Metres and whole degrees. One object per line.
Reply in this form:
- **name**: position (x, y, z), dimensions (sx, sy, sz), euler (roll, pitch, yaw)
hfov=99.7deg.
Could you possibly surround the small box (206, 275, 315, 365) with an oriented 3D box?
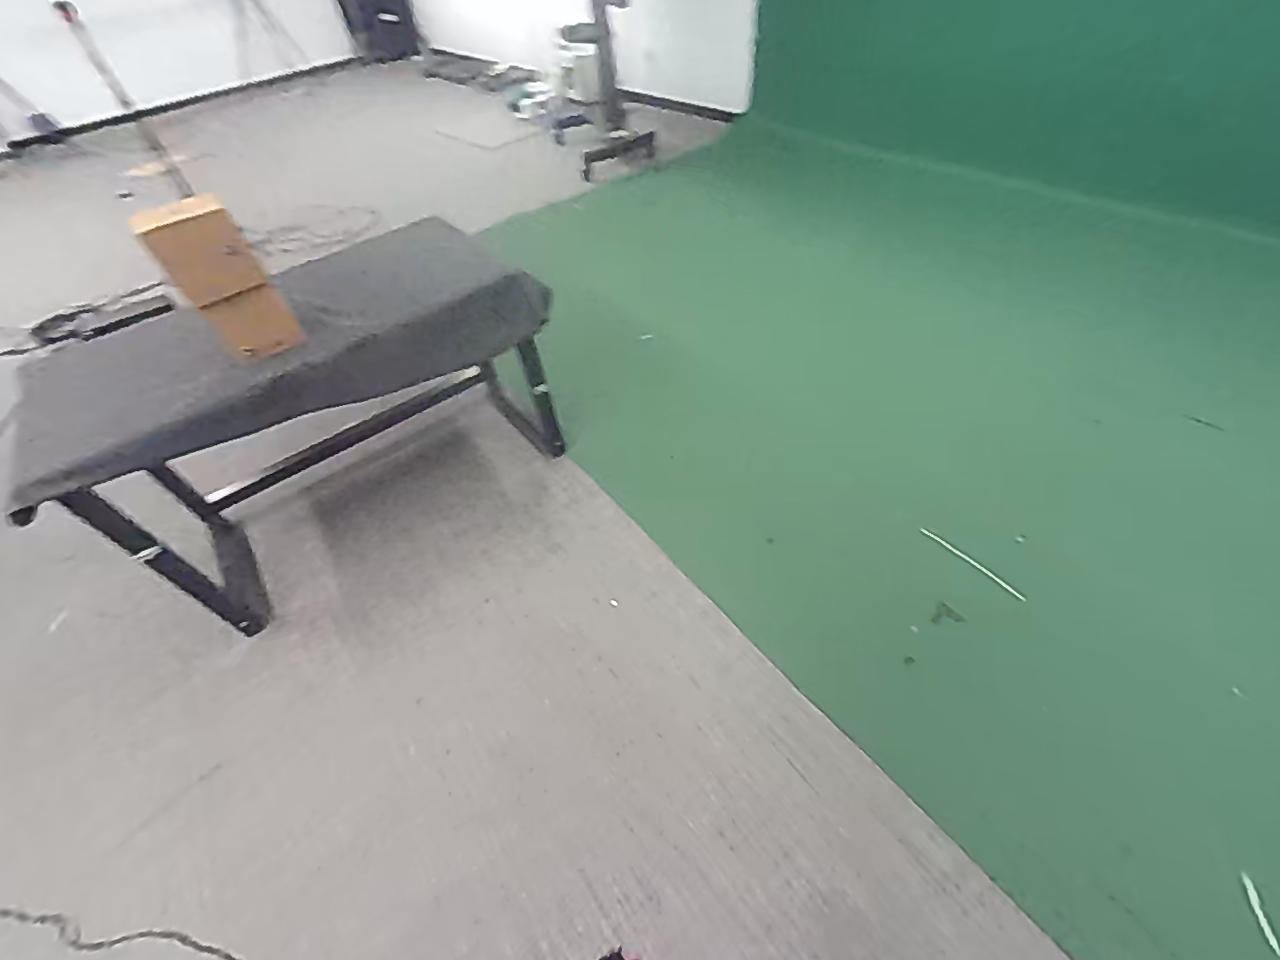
- **small box**: position (-0.956, -0.412, 1.363), dimensions (0.168, 0.176, 0.179), euler (-31, 50, -19)

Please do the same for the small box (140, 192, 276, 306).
- **small box**: position (-0.963, -0.522, 1.221), dimensions (0.179, 0.176, 0.168), euler (-36, 52, -24)
